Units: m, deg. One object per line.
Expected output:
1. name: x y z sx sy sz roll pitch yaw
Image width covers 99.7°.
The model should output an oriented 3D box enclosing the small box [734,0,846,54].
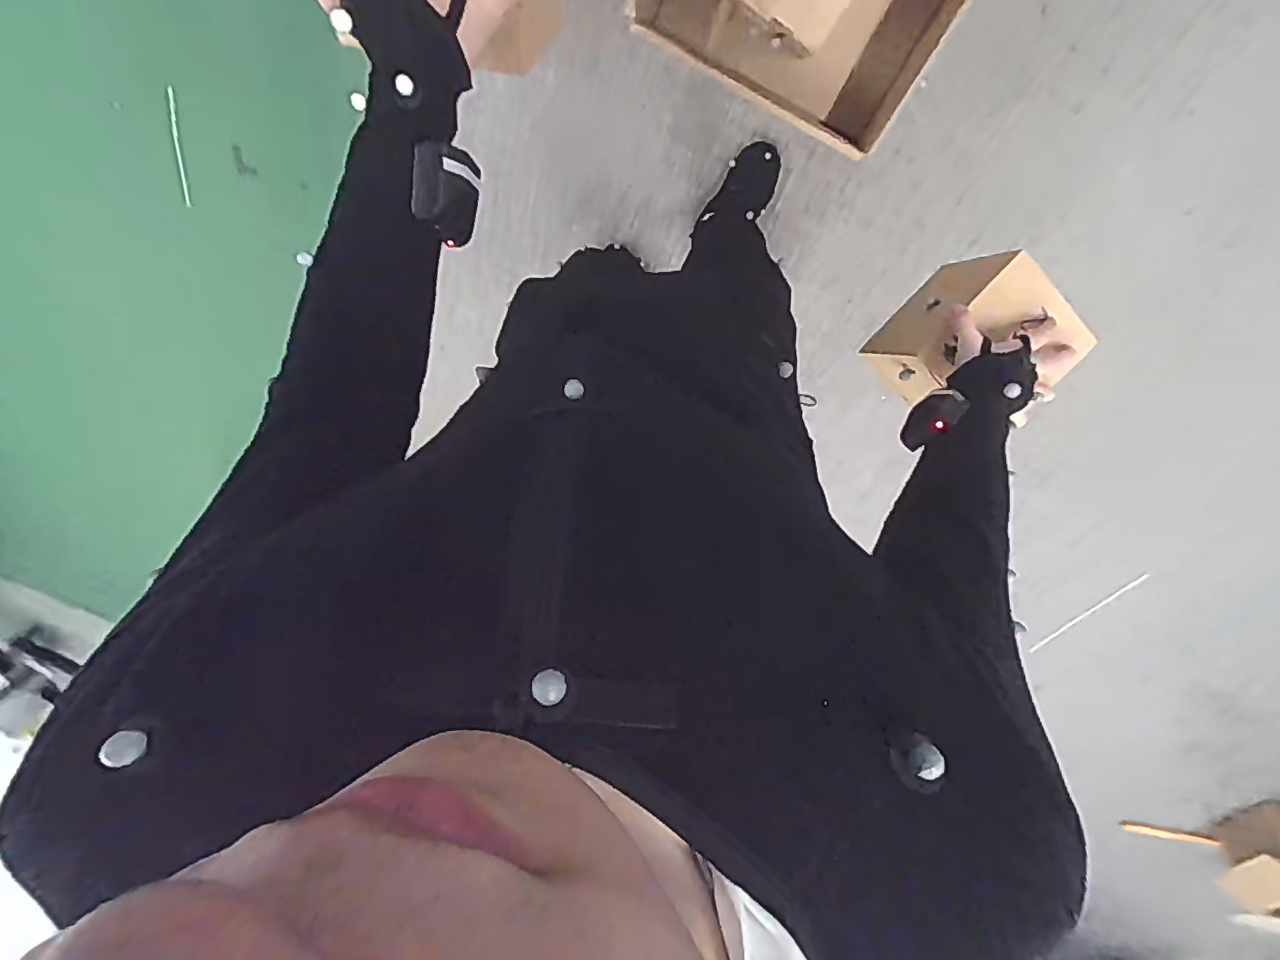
1. small box: 0.173 -0.591 0.570 0.168 0.176 0.179 31 127 -10

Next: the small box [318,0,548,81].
1. small box: -0.174 -0.483 0.466 0.168 0.176 0.179 8 140 -2
